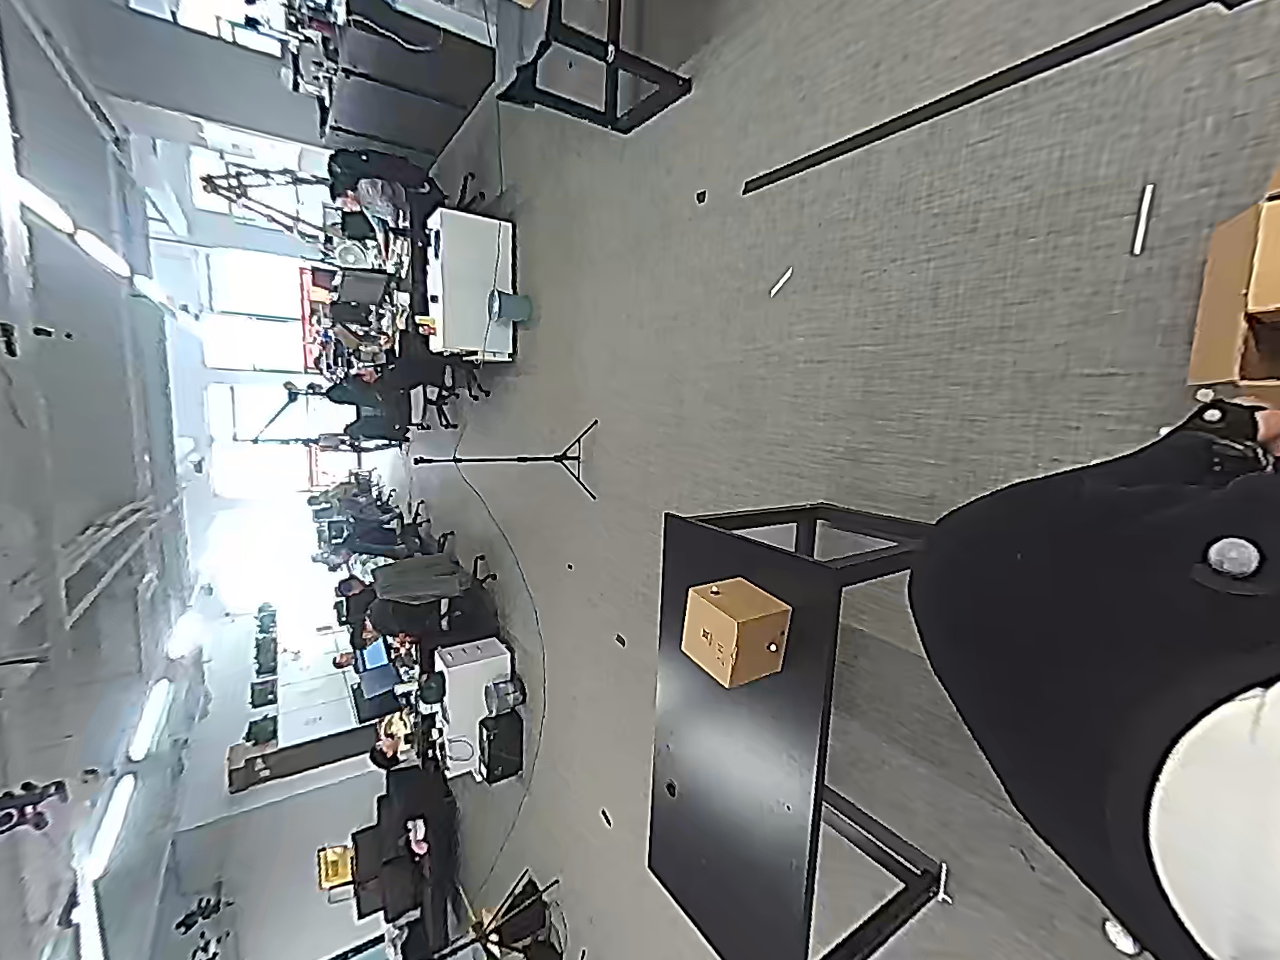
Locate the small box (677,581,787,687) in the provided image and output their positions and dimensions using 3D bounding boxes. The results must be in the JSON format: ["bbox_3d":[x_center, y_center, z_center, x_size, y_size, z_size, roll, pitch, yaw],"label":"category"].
[{"bbox_3d":[0.212,0.350,1.267,0.179,0.176,0.168,27,116,53],"label":"small box"}]
